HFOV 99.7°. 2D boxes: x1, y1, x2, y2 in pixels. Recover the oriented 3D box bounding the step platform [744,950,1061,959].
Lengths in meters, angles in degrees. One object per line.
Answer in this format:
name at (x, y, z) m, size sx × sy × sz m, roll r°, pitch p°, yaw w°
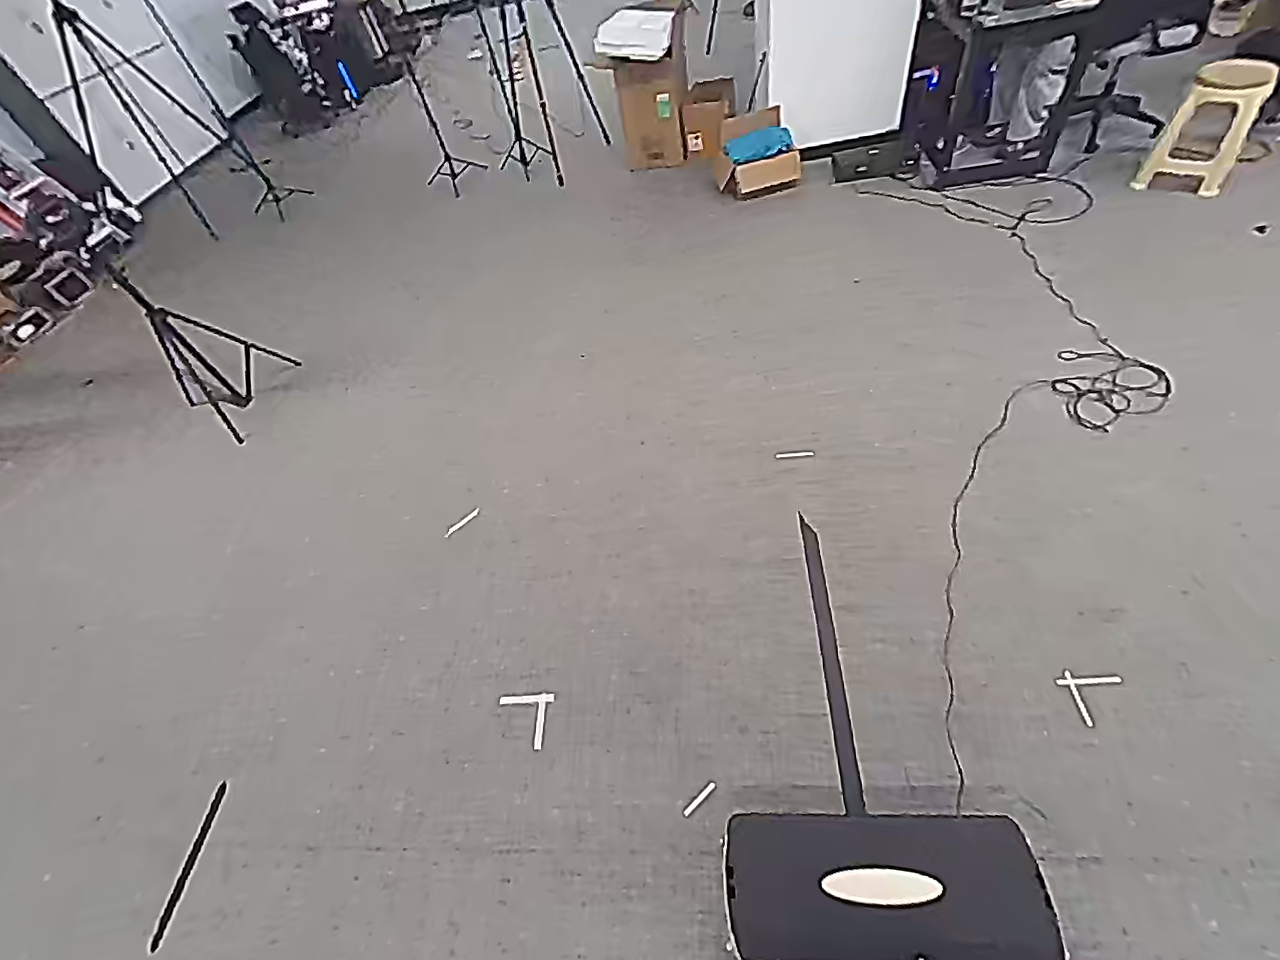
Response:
step platform at (0.533, 1.078, 1.011) m, size 0.684 × 0.204 × 0.286 m, roll -7°, pitch 50°, yaw 9°
